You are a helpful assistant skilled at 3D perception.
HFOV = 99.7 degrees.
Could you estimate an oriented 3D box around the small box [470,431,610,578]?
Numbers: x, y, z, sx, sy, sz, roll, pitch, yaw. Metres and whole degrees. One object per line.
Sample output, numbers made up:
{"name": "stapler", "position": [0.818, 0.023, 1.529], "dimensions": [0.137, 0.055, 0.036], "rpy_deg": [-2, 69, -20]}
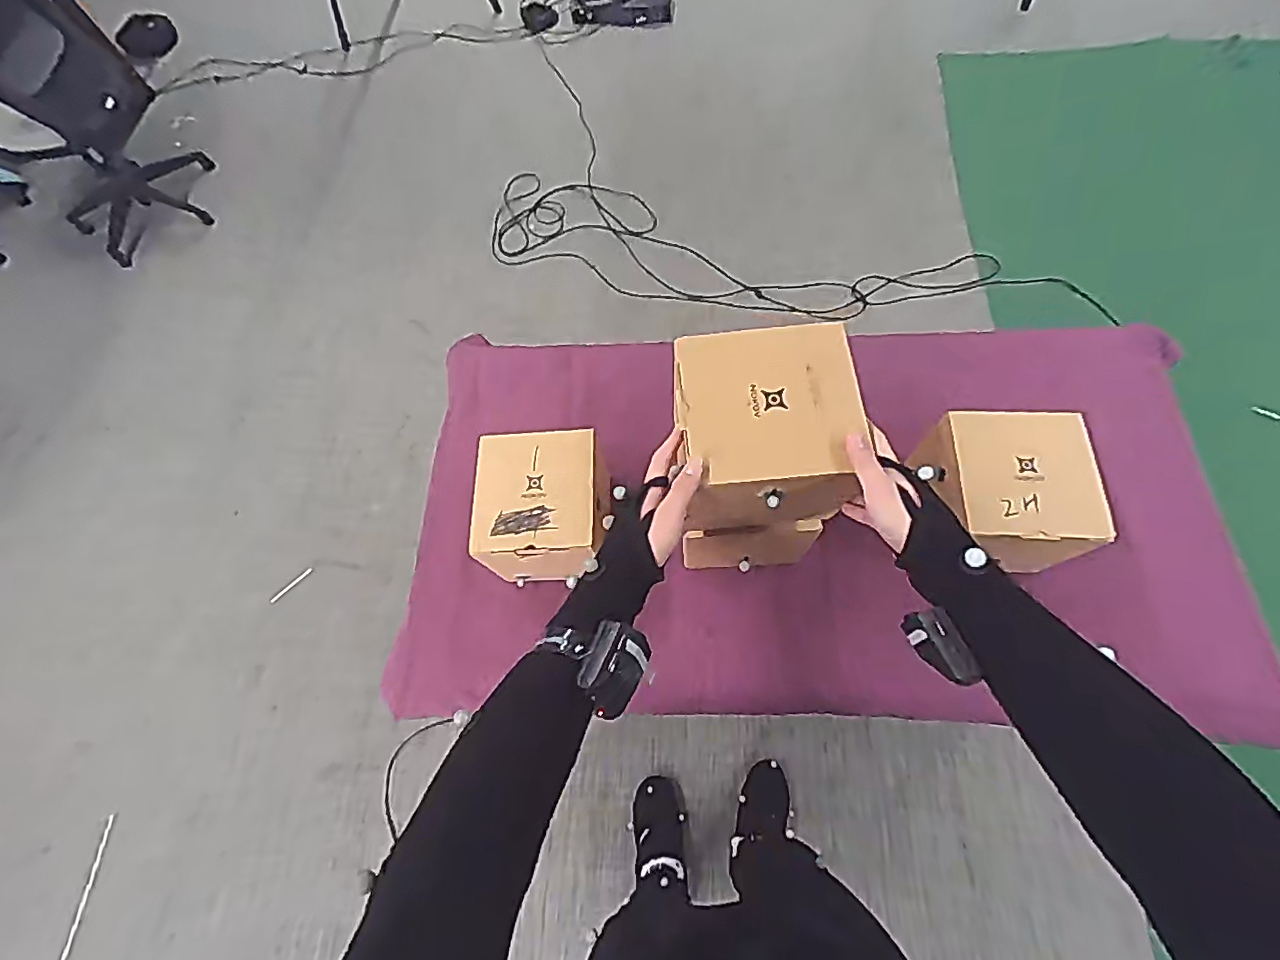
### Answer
{"name": "small box", "position": [-0.135, 0.045, 0.802], "dimensions": [0.168, 0.176, 0.179], "rpy_deg": [-3, 66, 4]}

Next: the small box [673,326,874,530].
{"name": "small box", "position": [0.131, -0.047, 0.602], "dimensions": [0.179, 0.176, 0.168], "rpy_deg": [-5, 70, 2]}

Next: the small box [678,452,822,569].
{"name": "small box", "position": [0.146, 0.029, 0.783], "dimensions": [0.179, 0.176, 0.168], "rpy_deg": [-3, 67, 4]}

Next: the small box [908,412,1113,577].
{"name": "small box", "position": [0.490, 0.025, 0.750], "dimensions": [0.168, 0.176, 0.179], "rpy_deg": [2, 67, 7]}
